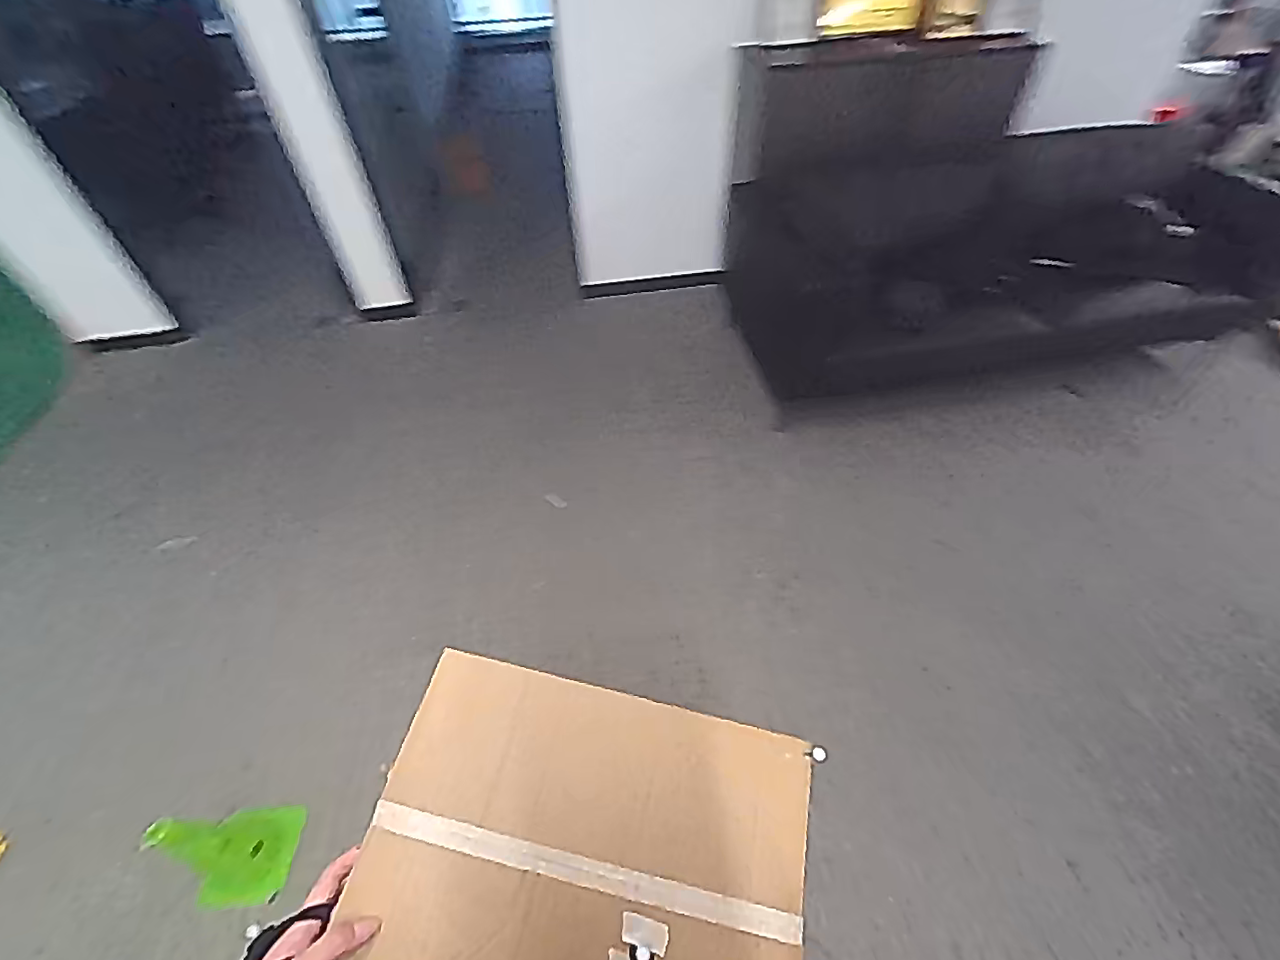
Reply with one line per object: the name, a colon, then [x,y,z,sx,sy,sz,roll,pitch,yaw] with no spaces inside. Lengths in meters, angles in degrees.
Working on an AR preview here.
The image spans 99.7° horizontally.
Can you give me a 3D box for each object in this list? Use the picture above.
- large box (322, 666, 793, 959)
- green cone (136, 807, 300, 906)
large box: [-0.071,0.442,0.628,0.408,0.320,0.320,12,59,2]
green cone: [-0.983,0.821,1.222,0.202,0.368,0.200,-4,48,0]
